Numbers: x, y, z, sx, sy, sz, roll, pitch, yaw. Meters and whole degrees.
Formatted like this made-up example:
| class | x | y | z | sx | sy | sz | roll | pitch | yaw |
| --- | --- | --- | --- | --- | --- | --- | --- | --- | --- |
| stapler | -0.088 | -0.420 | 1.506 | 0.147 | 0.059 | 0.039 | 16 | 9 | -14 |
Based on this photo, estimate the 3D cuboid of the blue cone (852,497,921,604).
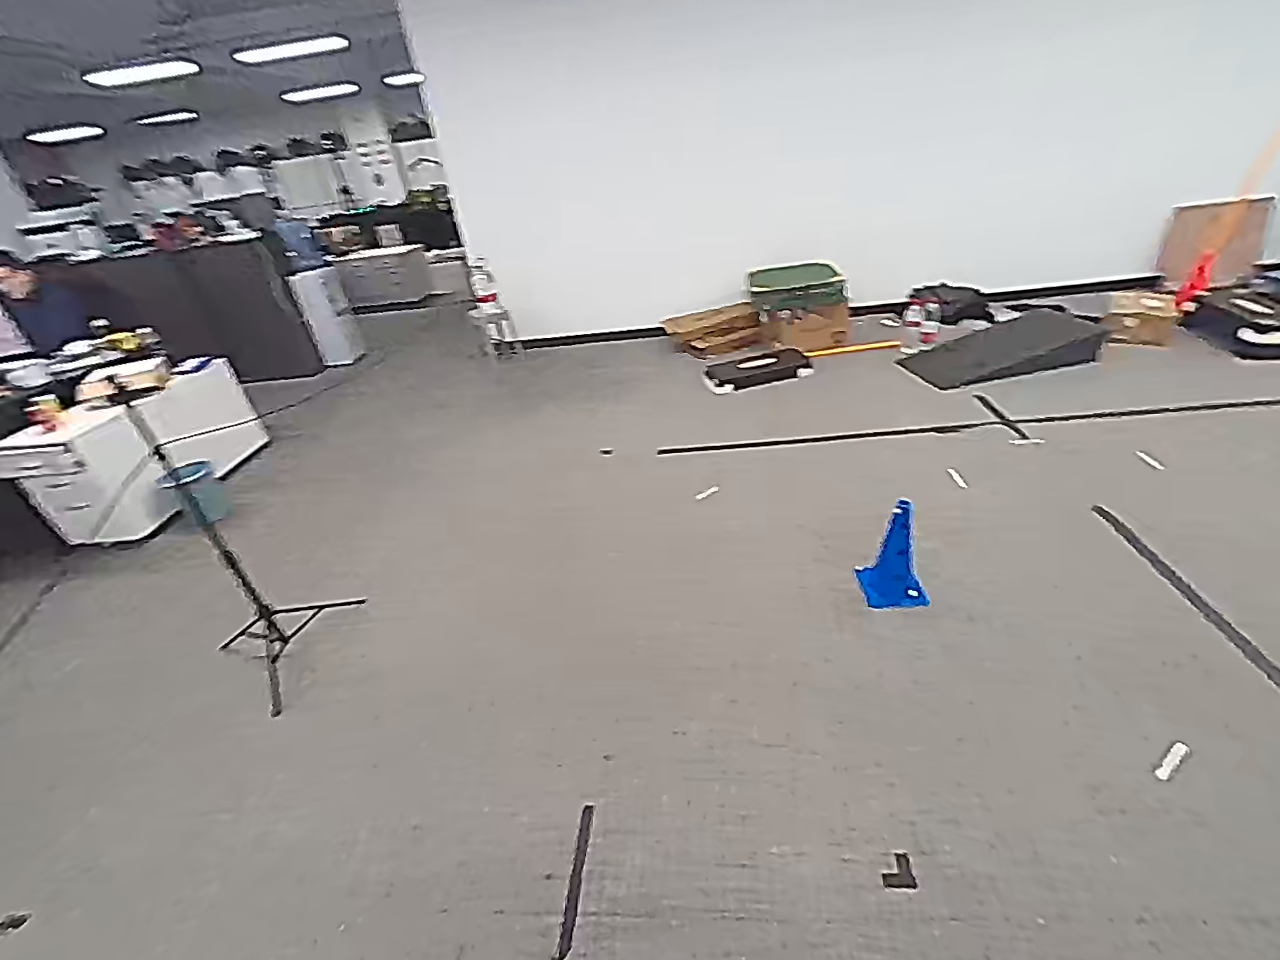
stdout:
| class | x | y | z | sx | sy | sz | roll | pitch | yaw |
| --- | --- | --- | --- | --- | --- | --- | --- | --- | --- |
| blue cone | 0.829 | 0.216 | 1.781 | 0.192 | 0.380 | 0.193 | -5 | 32 | 8 |
